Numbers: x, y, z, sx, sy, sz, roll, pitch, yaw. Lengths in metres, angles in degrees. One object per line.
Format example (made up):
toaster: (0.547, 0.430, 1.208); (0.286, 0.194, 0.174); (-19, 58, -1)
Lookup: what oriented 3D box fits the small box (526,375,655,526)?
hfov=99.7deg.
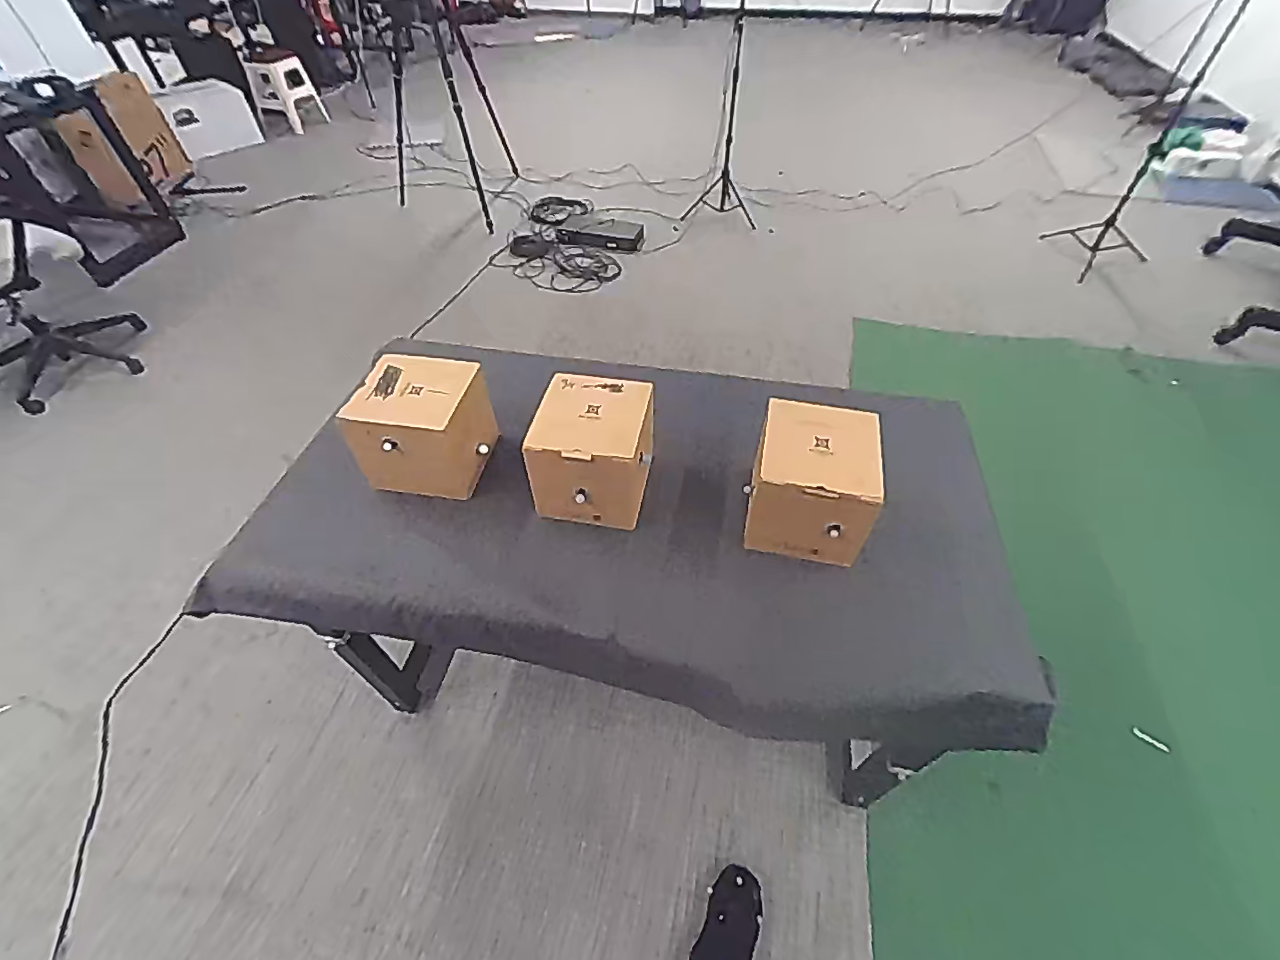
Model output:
small box: (-0.069, -0.046, 0.887); (0.168, 0.176, 0.179); (8, 50, 7)

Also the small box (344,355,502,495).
small box: (-0.356, -0.091, 0.926); (0.179, 0.176, 0.168); (7, 50, 5)

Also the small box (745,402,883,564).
small box: (0.263, 0.007, 0.841); (0.168, 0.176, 0.179); (10, 49, 8)
